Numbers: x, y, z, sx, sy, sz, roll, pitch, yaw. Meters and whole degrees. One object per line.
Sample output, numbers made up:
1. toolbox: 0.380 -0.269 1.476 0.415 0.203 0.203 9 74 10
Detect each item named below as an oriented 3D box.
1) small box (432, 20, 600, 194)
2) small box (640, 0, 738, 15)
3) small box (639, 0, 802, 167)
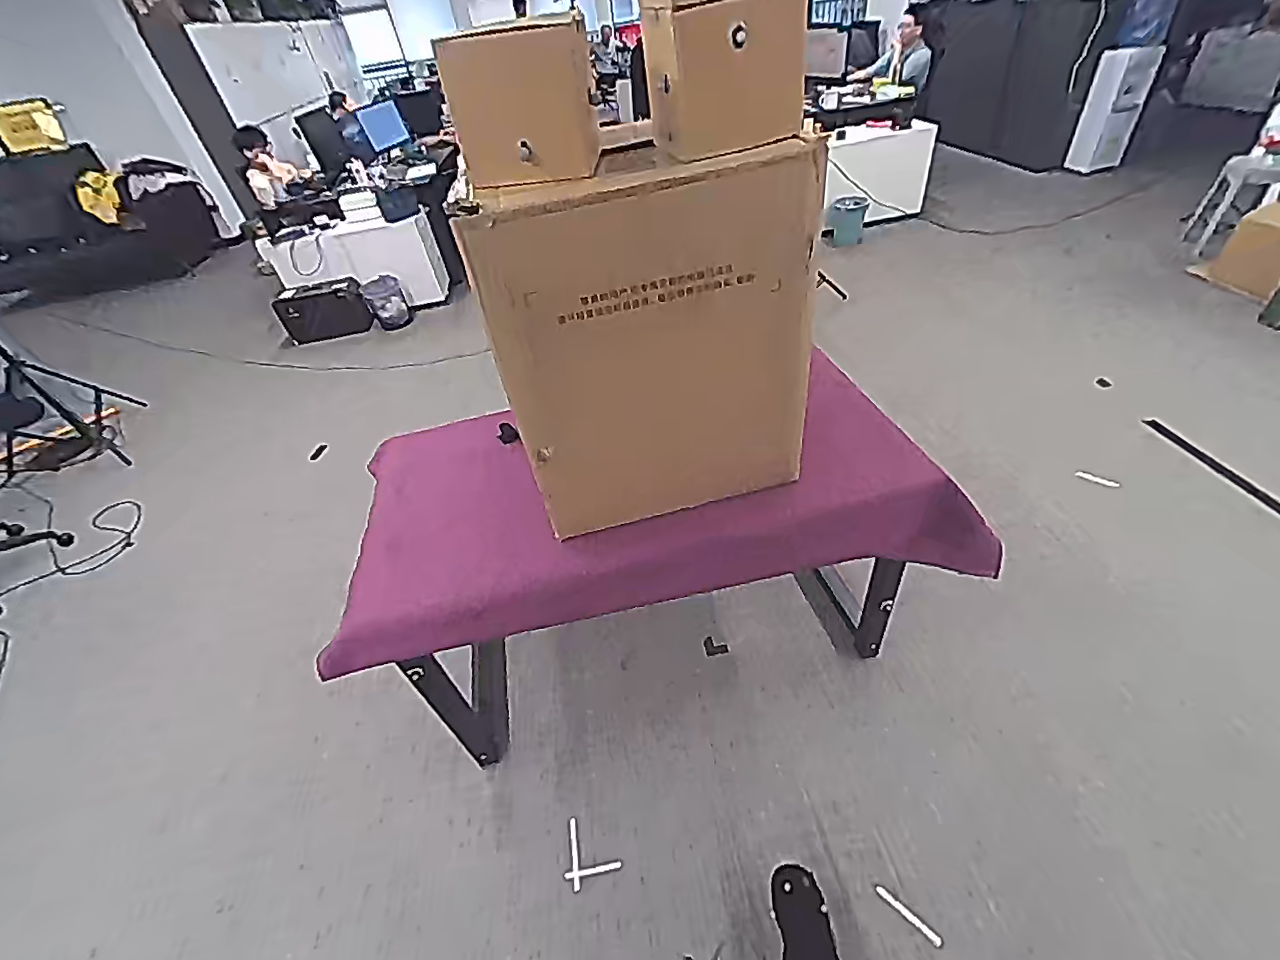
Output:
1. small box: -0.156 -0.520 0.758 0.179 0.176 0.168 -3 43 6
2. small box: 0.084 -0.679 0.647 0.168 0.176 0.179 -16 43 -4
3. small box: 0.112 -0.557 0.754 0.179 0.176 0.168 -16 42 -5
